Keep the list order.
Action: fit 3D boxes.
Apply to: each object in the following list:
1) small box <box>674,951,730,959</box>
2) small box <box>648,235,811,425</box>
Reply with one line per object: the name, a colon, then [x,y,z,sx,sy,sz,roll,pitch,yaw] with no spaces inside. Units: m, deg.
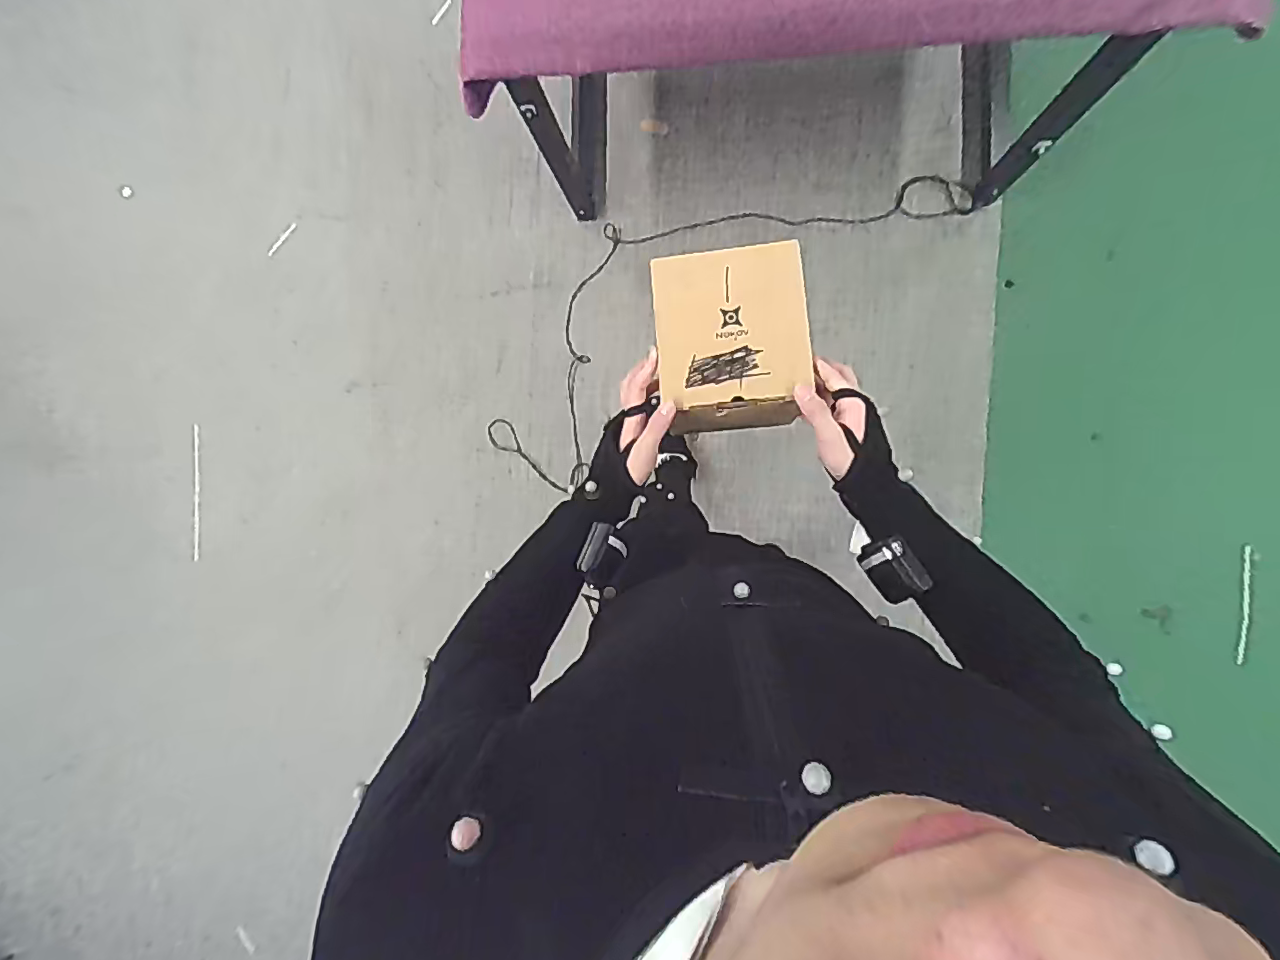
small box: [0.160,1.344,1.350,0.168,0.176,0.179,2,92,7]
small box: [0.105,-0.167,0.662,0.168,0.176,0.179,-5,85,7]
